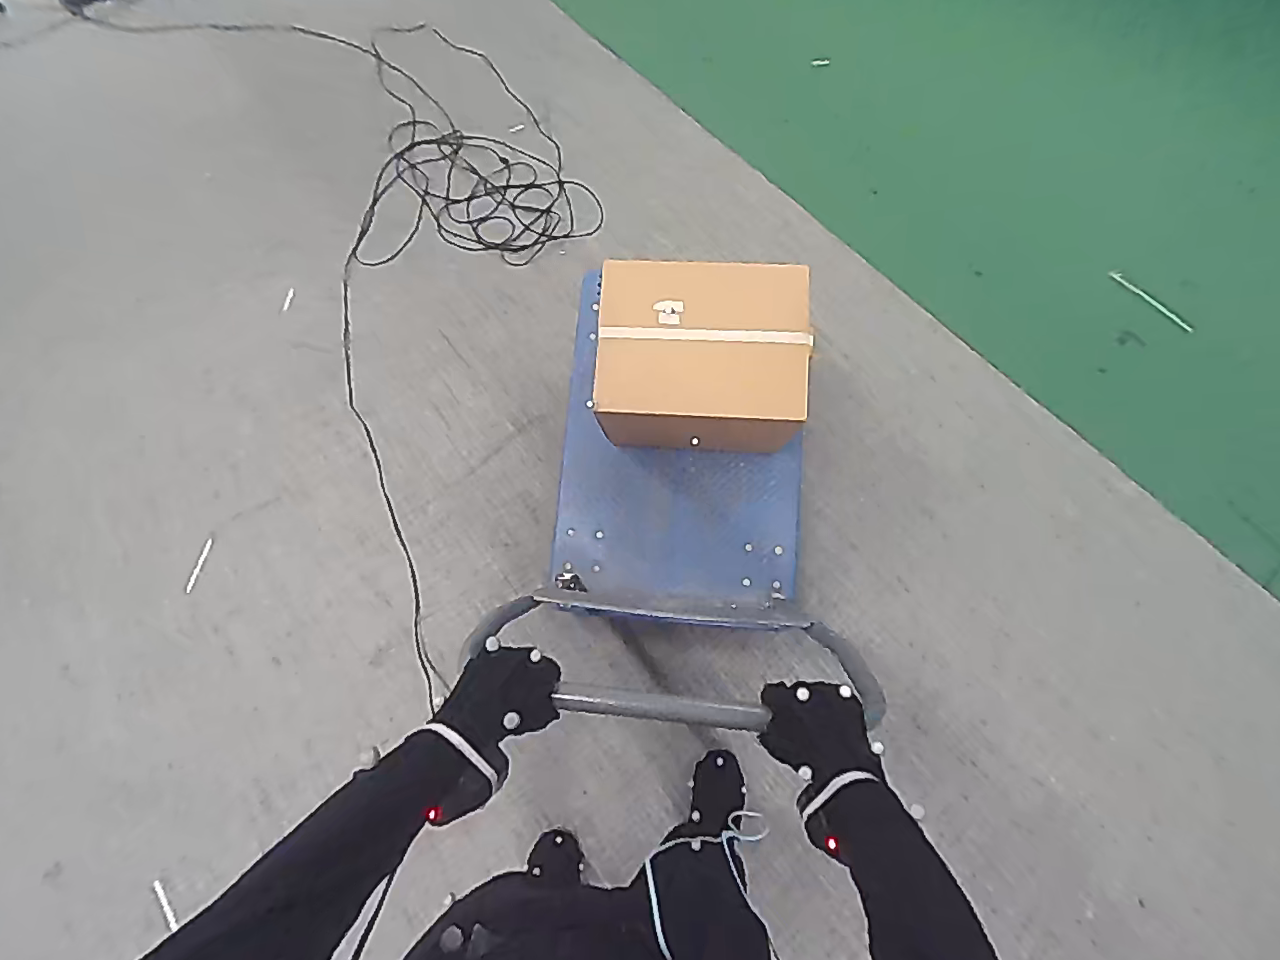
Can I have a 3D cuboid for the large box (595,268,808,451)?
[{"bbox_3d":[0.132,-0.241,1.181,0.408,0.320,0.320,2,82,5],"label":"large box"}]
